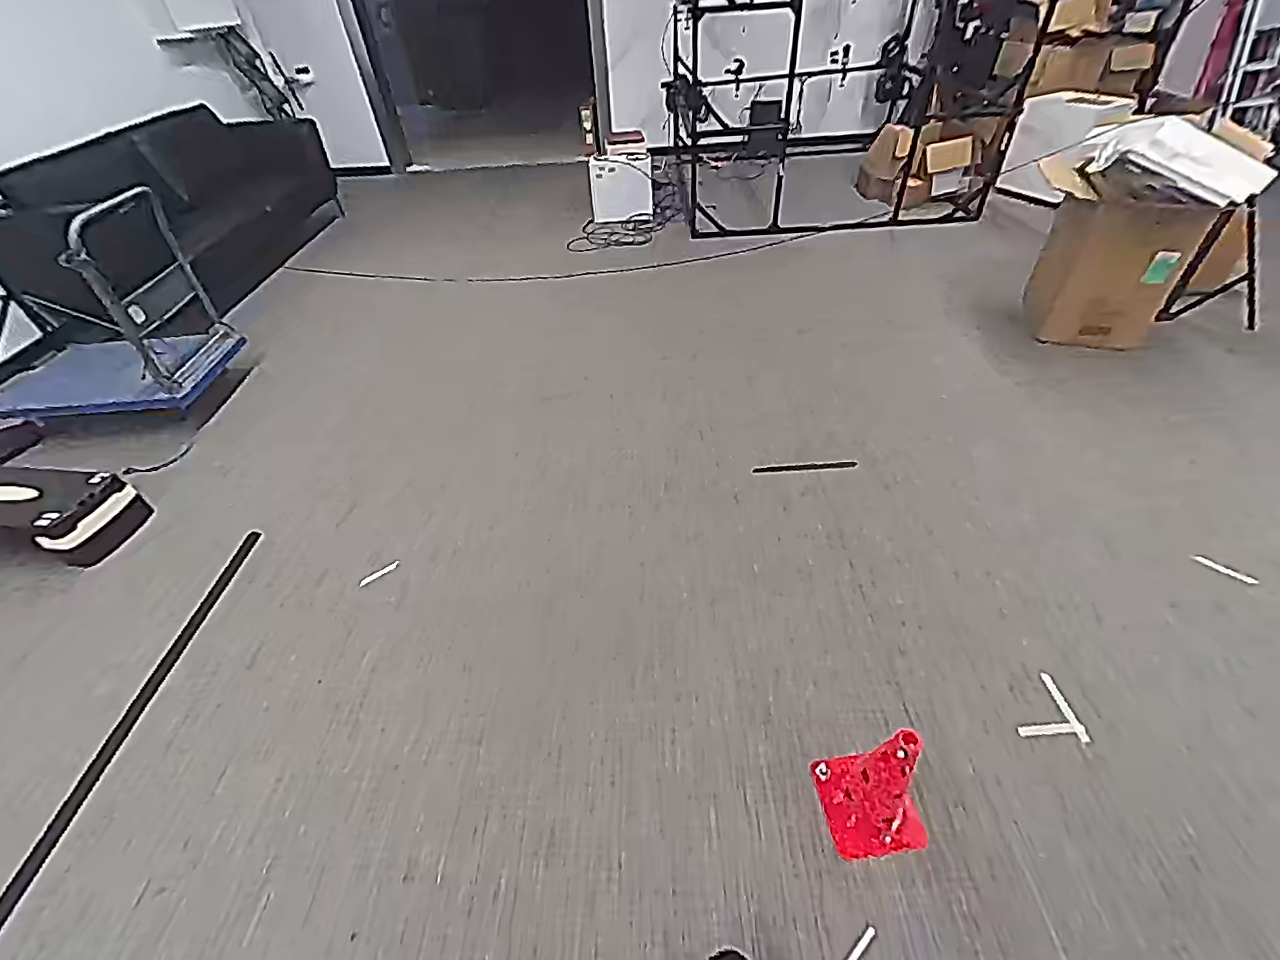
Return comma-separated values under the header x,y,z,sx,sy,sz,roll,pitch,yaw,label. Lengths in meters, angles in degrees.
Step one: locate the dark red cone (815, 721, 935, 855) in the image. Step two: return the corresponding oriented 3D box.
x,y,z,sx,sy,sz,roll,pitch,yaw,label
0.496,0.574,1.069,0.202,0.394,0.201,-8,44,-4,dark red cone
